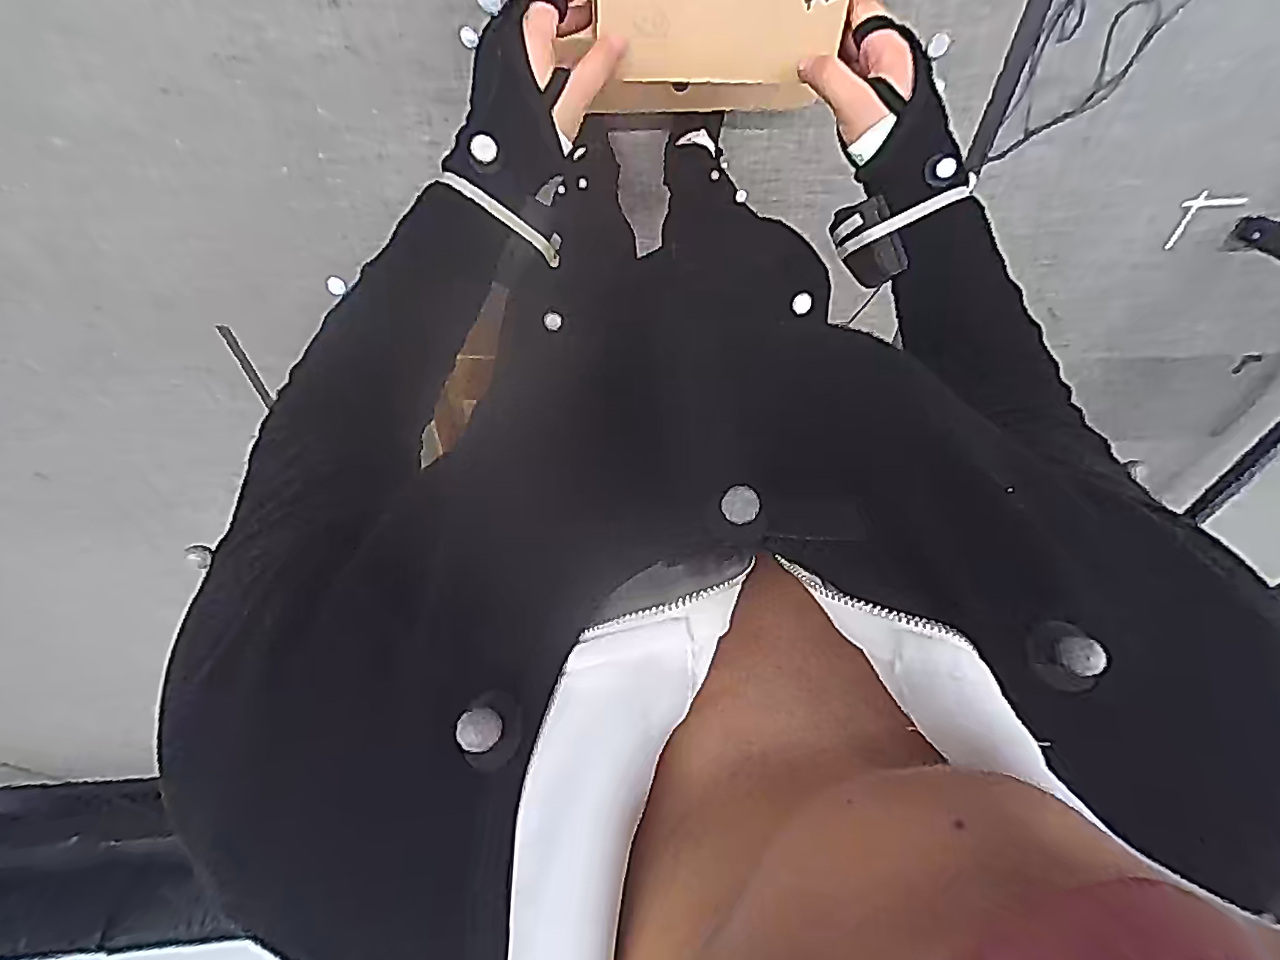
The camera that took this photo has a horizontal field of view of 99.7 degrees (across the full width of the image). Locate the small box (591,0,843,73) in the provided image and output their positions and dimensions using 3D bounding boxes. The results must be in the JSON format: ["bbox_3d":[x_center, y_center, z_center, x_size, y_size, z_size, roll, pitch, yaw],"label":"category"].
[{"bbox_3d":[0.051,-0.415,0.404,0.179,0.176,0.168,-2,131,-3],"label":"small box"}]
